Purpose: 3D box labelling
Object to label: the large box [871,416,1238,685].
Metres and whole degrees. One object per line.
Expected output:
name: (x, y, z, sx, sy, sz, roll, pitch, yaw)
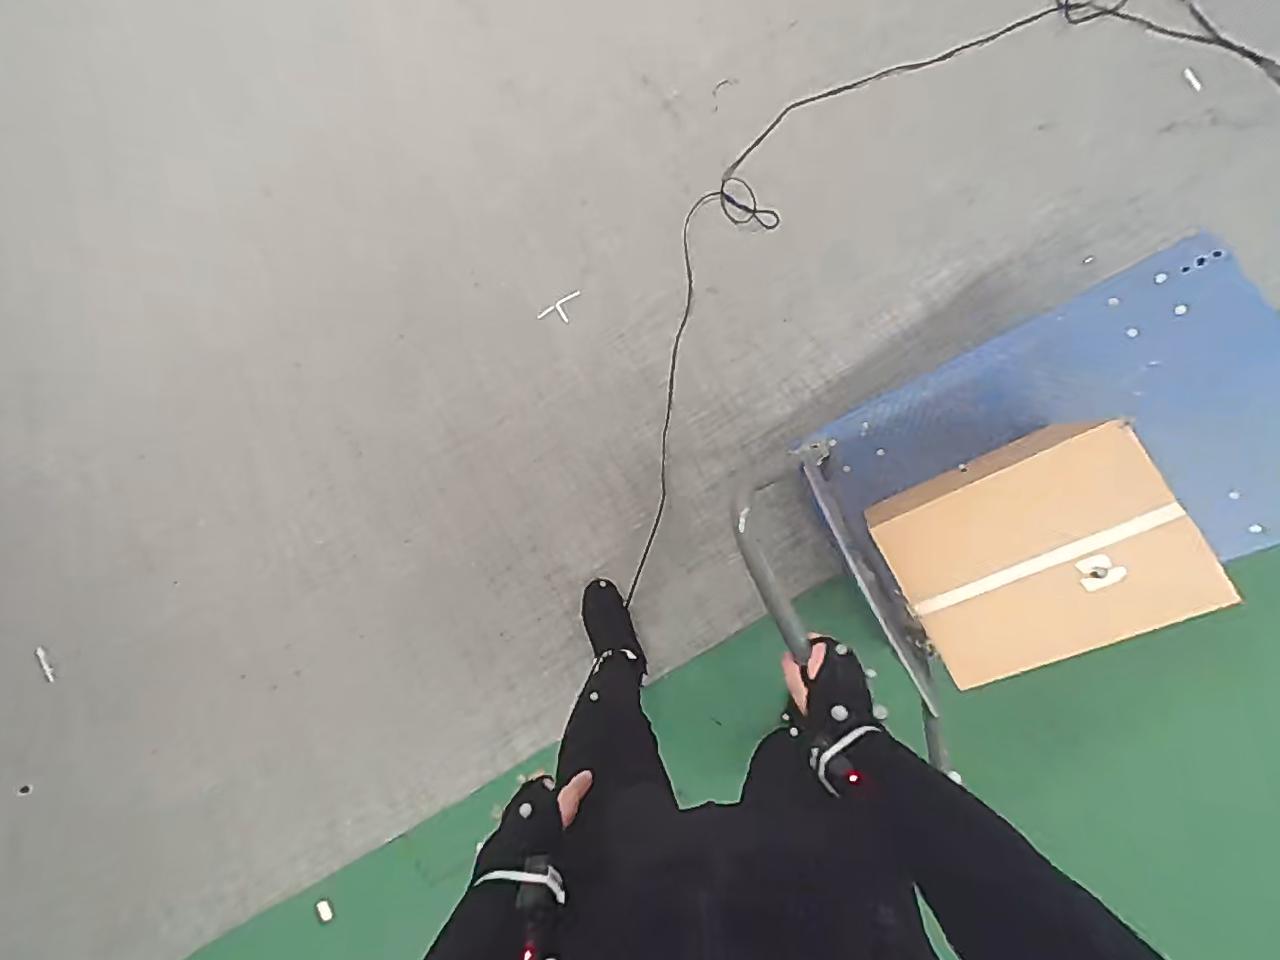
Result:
large box: (0.702, 0.121, 1.014, 0.408, 0.320, 0.320, -29, 83, 20)
